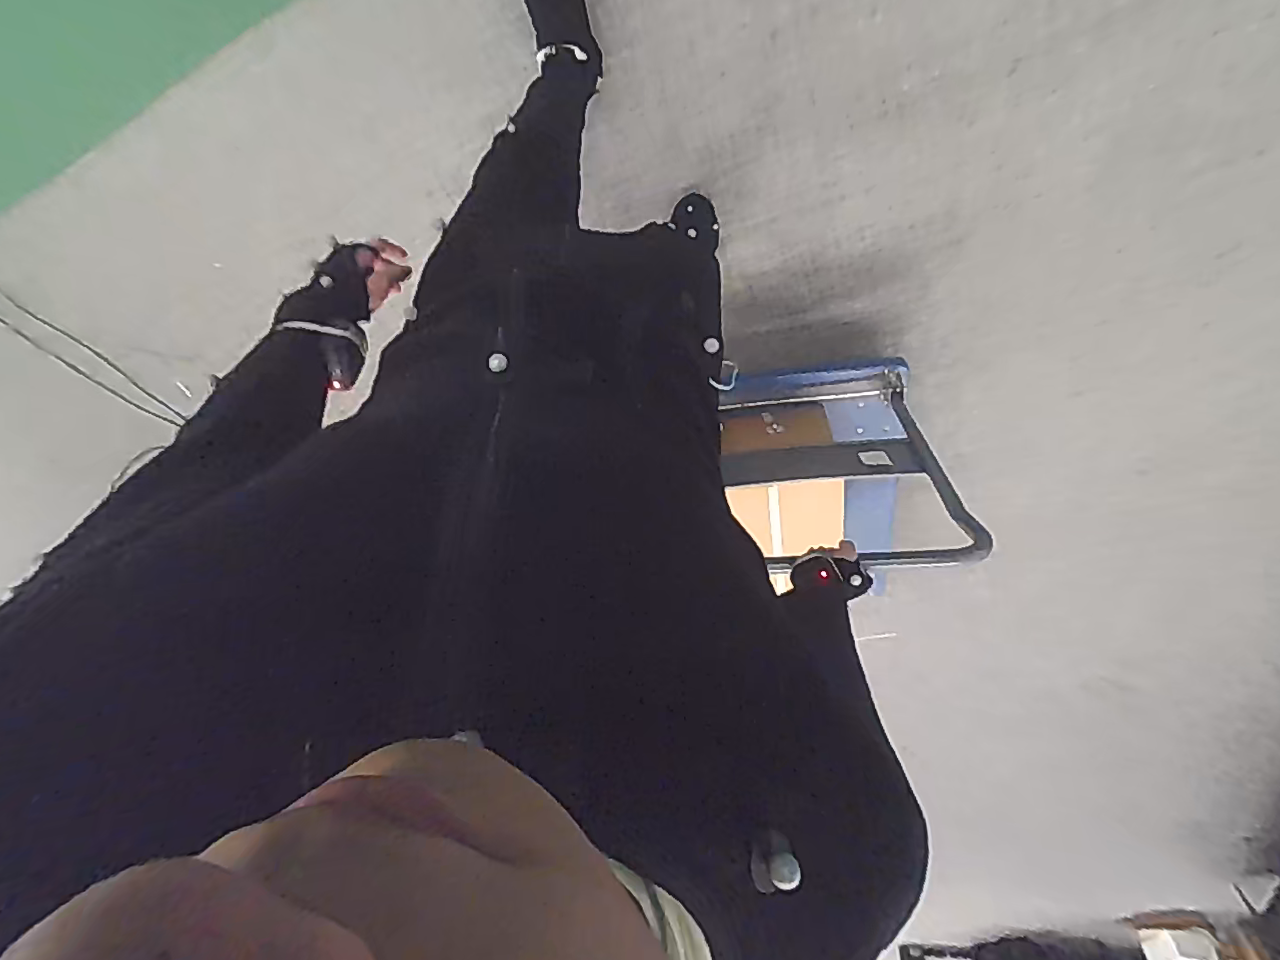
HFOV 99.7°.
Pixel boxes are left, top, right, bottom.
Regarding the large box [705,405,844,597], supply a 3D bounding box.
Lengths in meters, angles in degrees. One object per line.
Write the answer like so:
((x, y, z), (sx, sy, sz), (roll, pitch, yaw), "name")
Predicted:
((0.356, 0.060, 1.458), (0.320, 0.320, 0.408), (-5, 127, 12), "large box")
